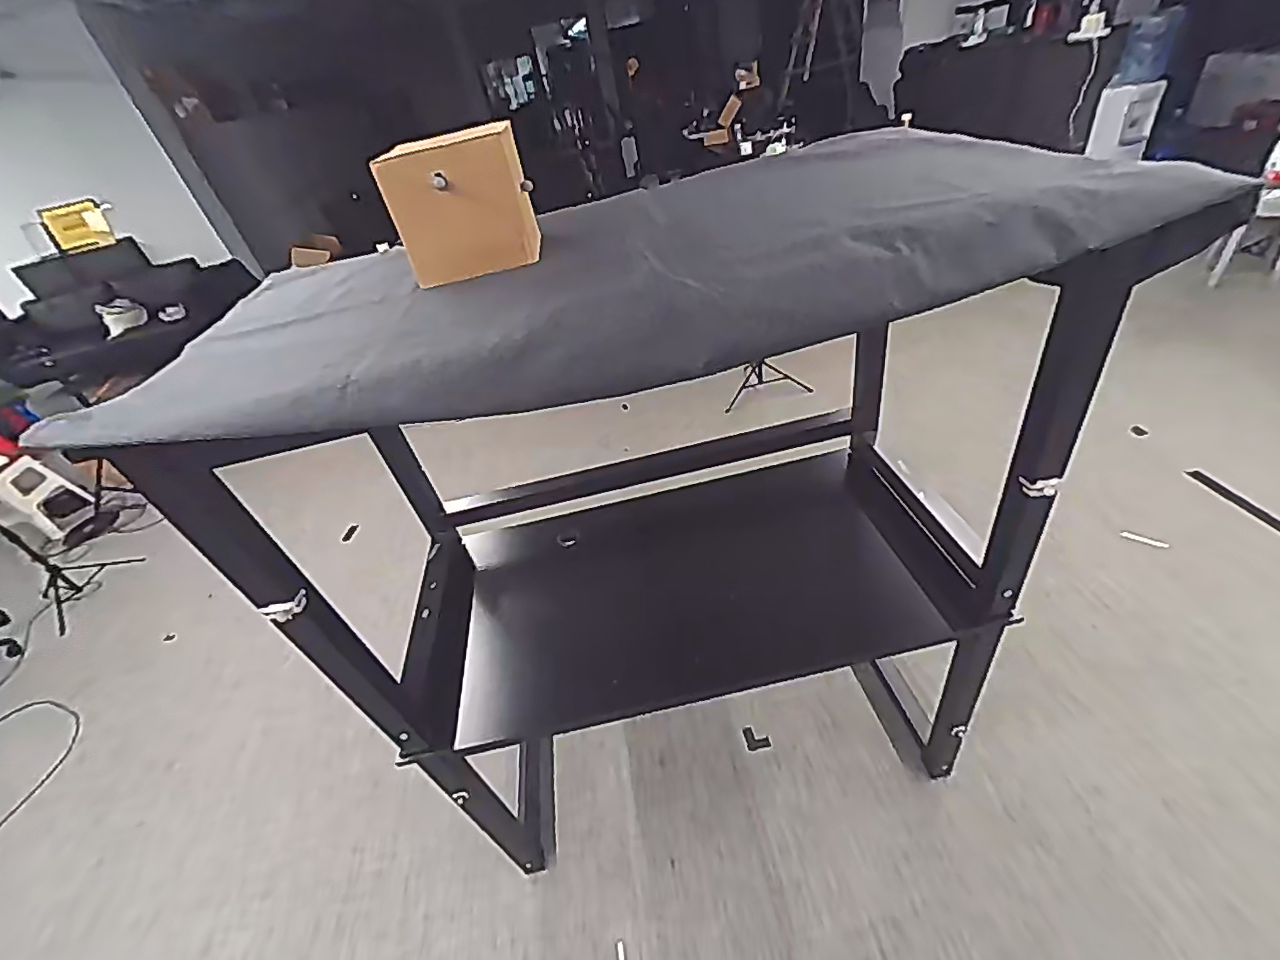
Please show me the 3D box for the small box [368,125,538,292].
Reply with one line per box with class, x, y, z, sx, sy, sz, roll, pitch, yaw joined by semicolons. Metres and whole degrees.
small box;-0.256;-0.399;0.795;0.179;0.176;0.168;-13;38;1
